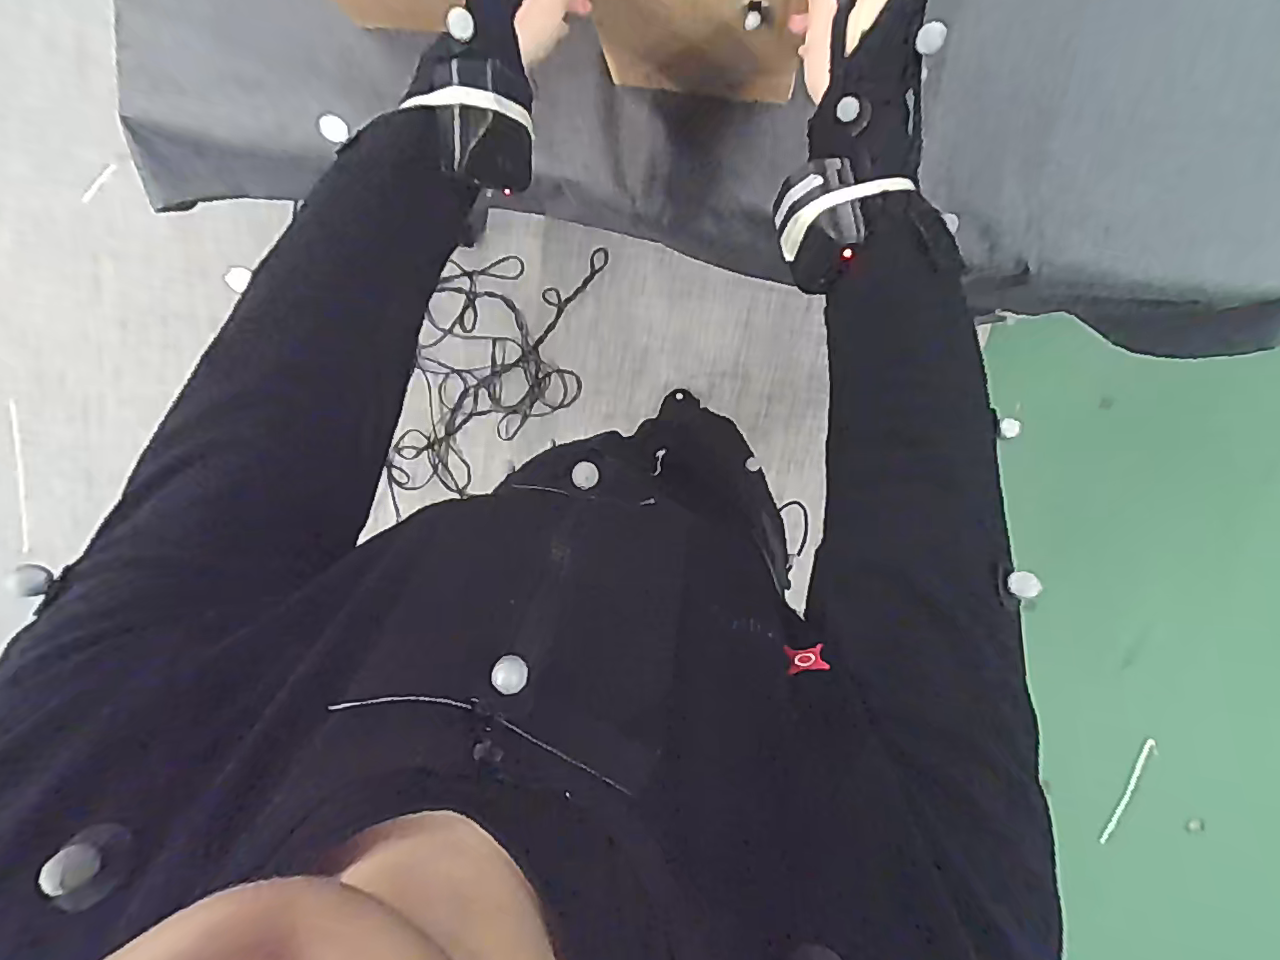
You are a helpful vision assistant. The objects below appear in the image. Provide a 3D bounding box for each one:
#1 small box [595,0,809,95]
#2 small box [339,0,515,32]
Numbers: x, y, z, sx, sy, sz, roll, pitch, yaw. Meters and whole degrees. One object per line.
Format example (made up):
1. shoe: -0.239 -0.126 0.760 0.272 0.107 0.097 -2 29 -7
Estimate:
1. small box: 0.057 -0.442 0.429 0.179 0.176 0.168 10 102 5
2. small box: -0.202 -0.515 0.448 0.179 0.176 0.168 8 101 7
